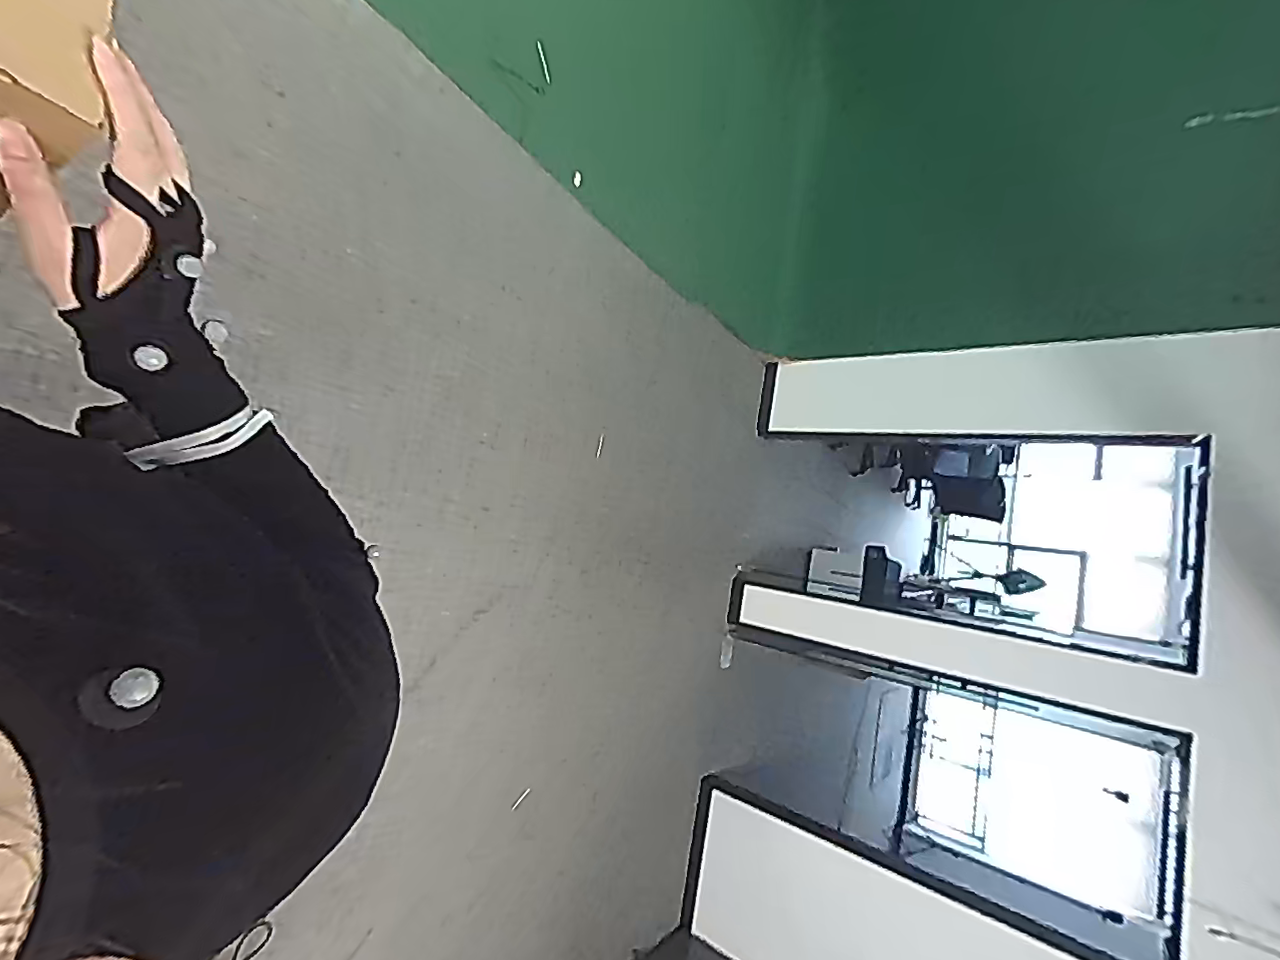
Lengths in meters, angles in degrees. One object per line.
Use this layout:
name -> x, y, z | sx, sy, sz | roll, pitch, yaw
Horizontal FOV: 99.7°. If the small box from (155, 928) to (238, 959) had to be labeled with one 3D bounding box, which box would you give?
small box -> -0.914, 1.060, 1.070 | 0.179, 0.176, 0.168 | -2, 96, -52
